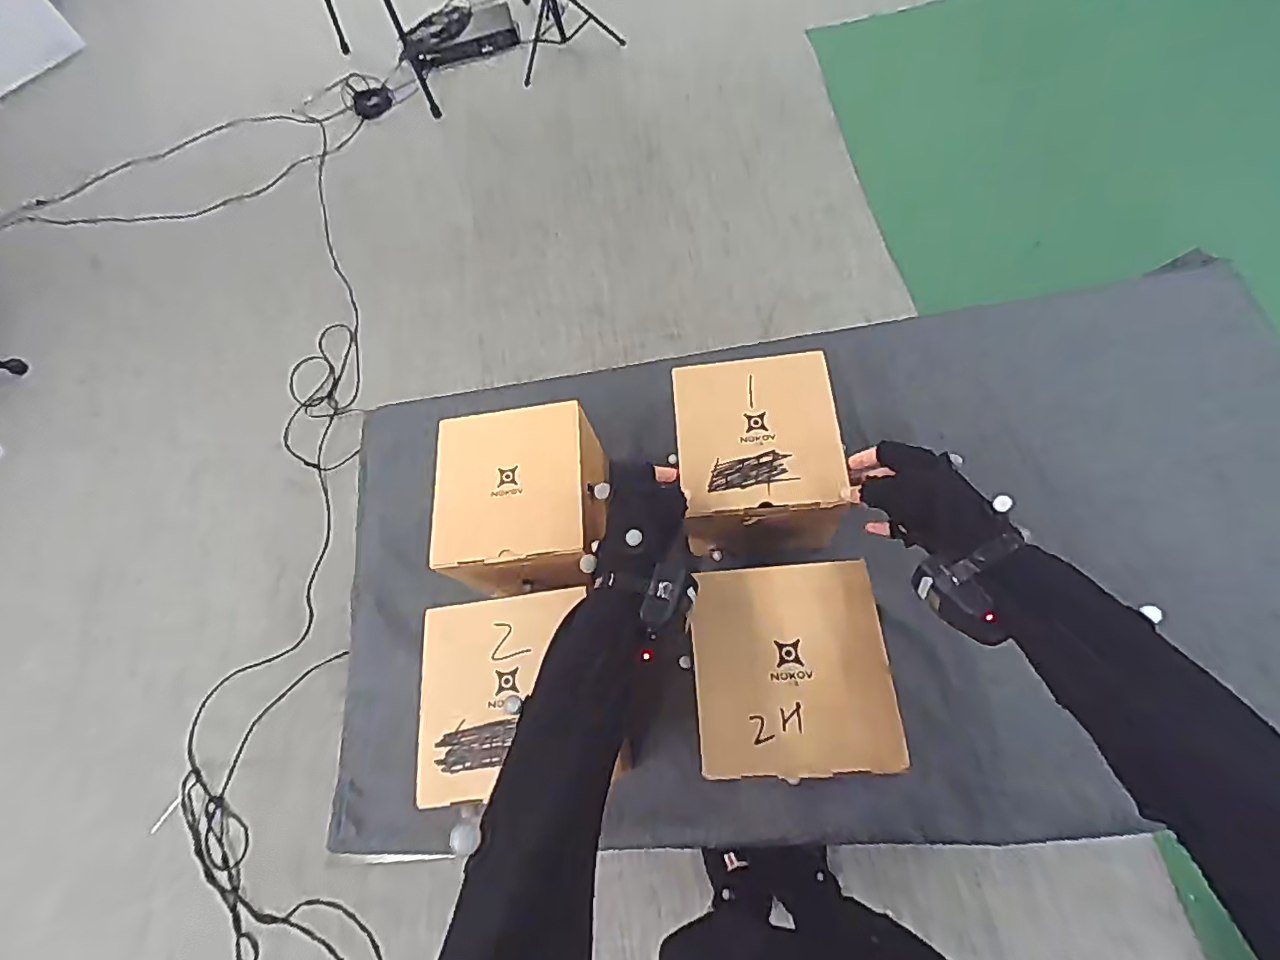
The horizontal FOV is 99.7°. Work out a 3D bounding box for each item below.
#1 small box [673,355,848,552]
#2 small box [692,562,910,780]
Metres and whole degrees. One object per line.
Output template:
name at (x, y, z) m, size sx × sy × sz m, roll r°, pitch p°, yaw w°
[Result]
small box at (0.131, -0.018, 0.631) m, size 0.168 × 0.176 × 0.179 m, roll -5°, pitch 67°, yaw 7°
small box at (0.141, 0.192, 0.542) m, size 0.168 × 0.176 × 0.179 m, roll -6°, pitch 67°, yaw 7°
